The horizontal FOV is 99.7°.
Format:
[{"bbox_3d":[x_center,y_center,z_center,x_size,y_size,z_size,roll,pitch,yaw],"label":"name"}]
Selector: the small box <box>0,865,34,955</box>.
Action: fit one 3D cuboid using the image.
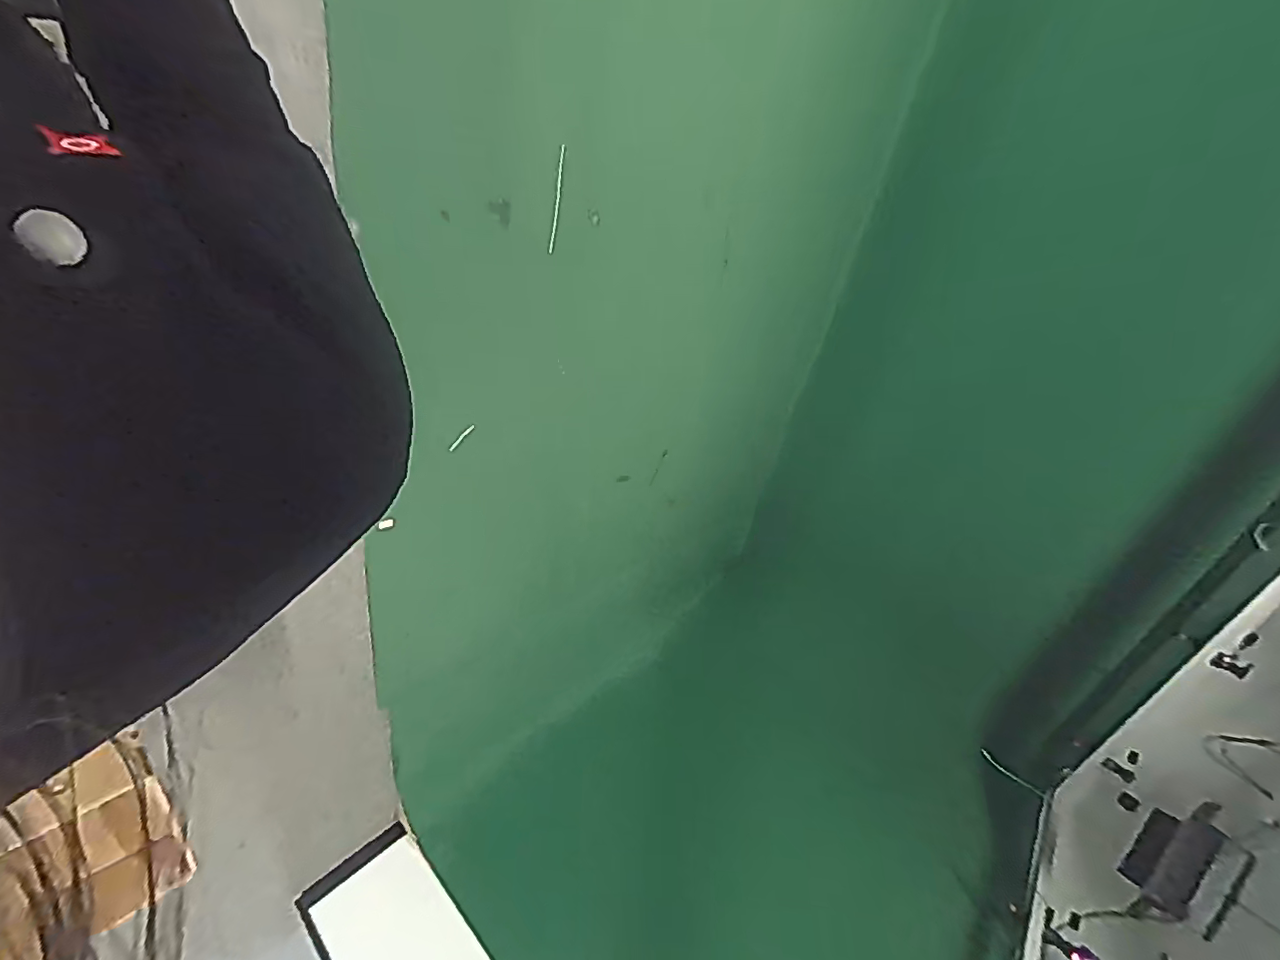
[{"bbox_3d":[-1.166,0.753,0.888,0.168,0.176,0.179,-30,142,-41],"label":"small box"}]
